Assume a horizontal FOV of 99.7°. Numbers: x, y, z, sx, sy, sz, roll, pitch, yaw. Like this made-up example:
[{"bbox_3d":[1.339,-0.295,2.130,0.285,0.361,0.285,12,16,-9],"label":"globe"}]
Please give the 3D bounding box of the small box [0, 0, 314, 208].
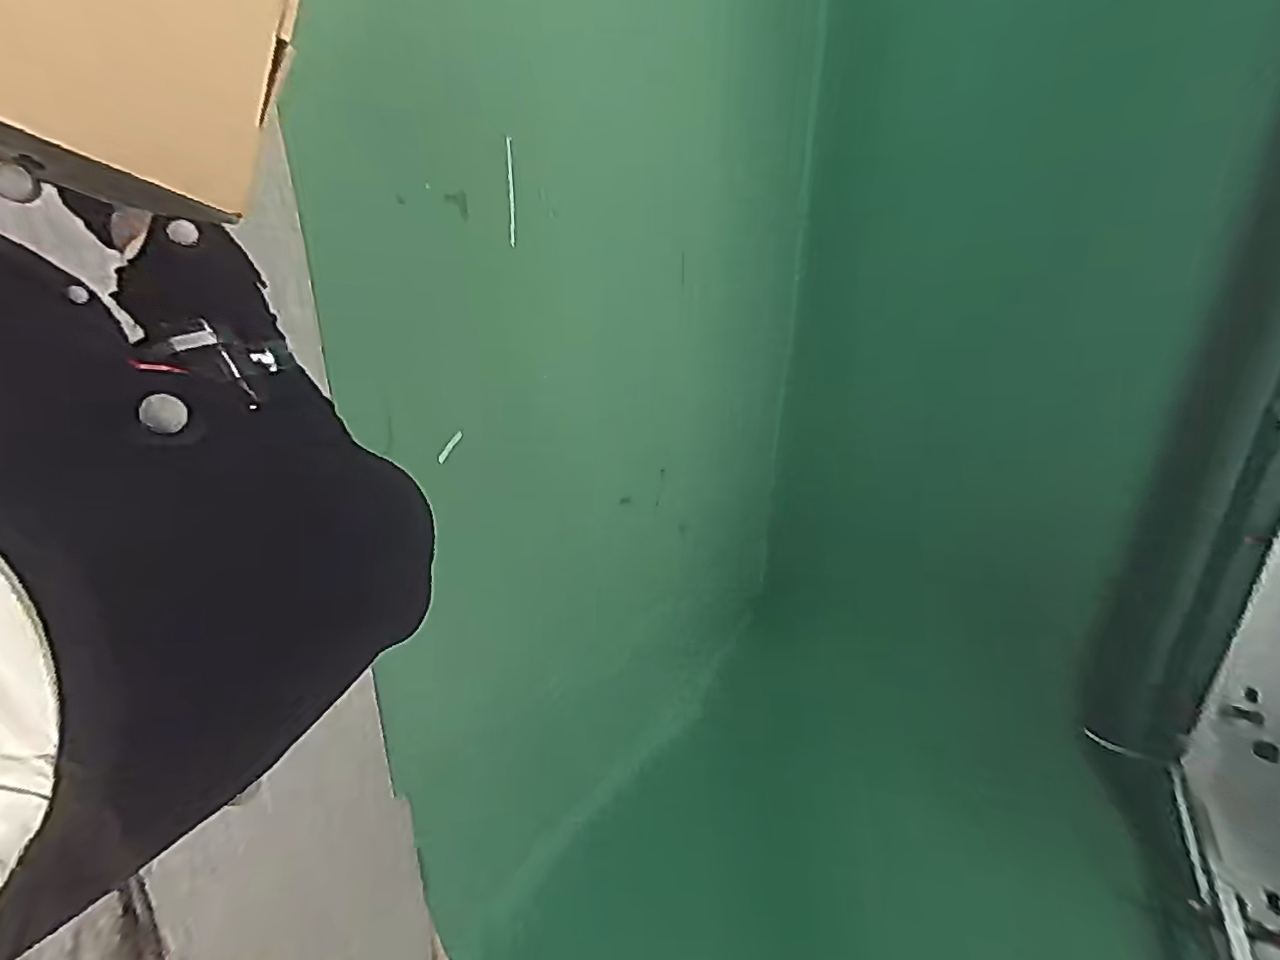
[{"bbox_3d":[-0.216,-0.201,0.151,0.179,0.176,0.168,6,102,-56],"label":"small box"}]
